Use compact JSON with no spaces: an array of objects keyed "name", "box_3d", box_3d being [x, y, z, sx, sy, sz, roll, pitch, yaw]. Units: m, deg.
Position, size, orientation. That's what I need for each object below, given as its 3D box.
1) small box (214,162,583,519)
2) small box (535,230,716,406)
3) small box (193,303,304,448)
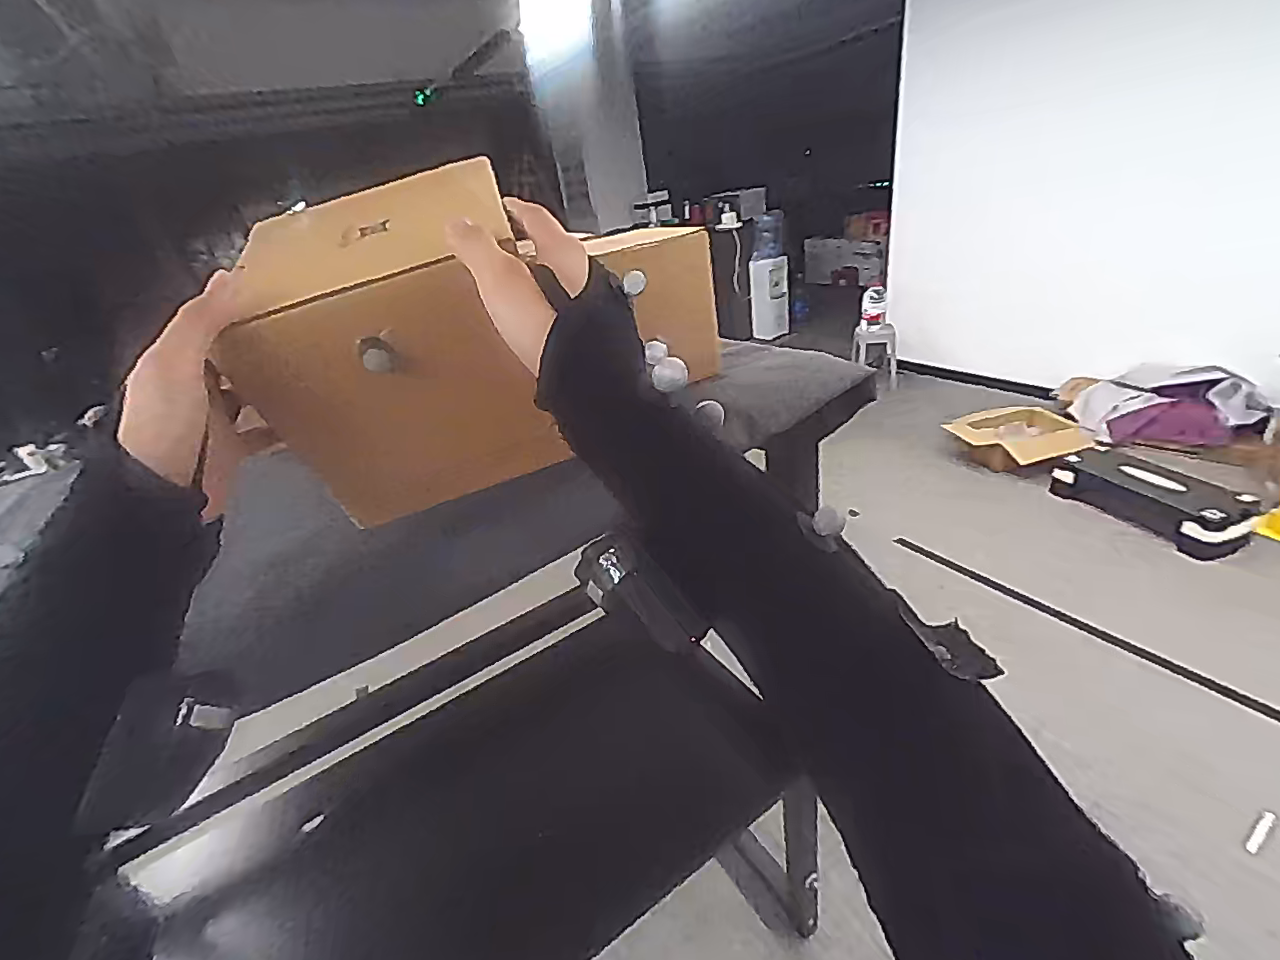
[{"name":"small box","box_3d":[-0.150,-0.100,0.401,0.179,0.176,0.168,-19,47,-4]},{"name":"small box","box_3d":[-0.020,-0.208,0.680,0.168,0.176,0.179,-21,31,-17]},{"name":"small box","box_3d":[-0.460,-0.161,0.736,0.168,0.176,0.179,-25,33,-24]}]
